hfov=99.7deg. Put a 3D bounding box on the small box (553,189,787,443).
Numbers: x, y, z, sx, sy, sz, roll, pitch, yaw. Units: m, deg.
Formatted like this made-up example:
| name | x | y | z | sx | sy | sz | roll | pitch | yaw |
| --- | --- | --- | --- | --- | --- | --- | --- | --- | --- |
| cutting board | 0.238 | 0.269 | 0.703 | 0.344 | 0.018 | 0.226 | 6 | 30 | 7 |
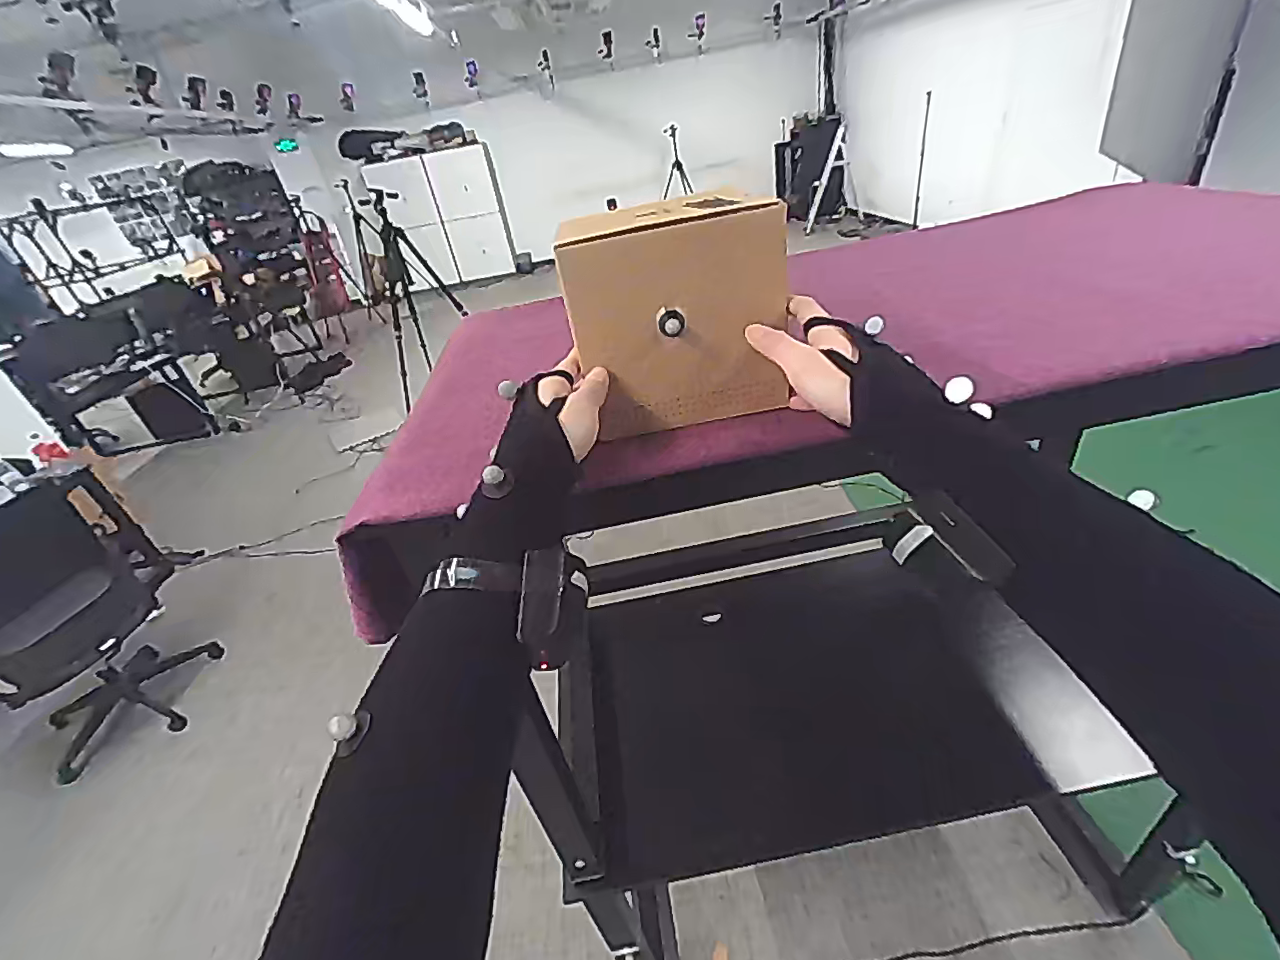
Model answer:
| name | x | y | z | sx | sy | sz | roll | pitch | yaw |
| --- | --- | --- | --- | --- | --- | --- | --- | --- | --- |
| small box | 0.028 | -0.155 | 0.503 | 0.179 | 0.176 | 0.168 | -12 | 32 | 2 |
